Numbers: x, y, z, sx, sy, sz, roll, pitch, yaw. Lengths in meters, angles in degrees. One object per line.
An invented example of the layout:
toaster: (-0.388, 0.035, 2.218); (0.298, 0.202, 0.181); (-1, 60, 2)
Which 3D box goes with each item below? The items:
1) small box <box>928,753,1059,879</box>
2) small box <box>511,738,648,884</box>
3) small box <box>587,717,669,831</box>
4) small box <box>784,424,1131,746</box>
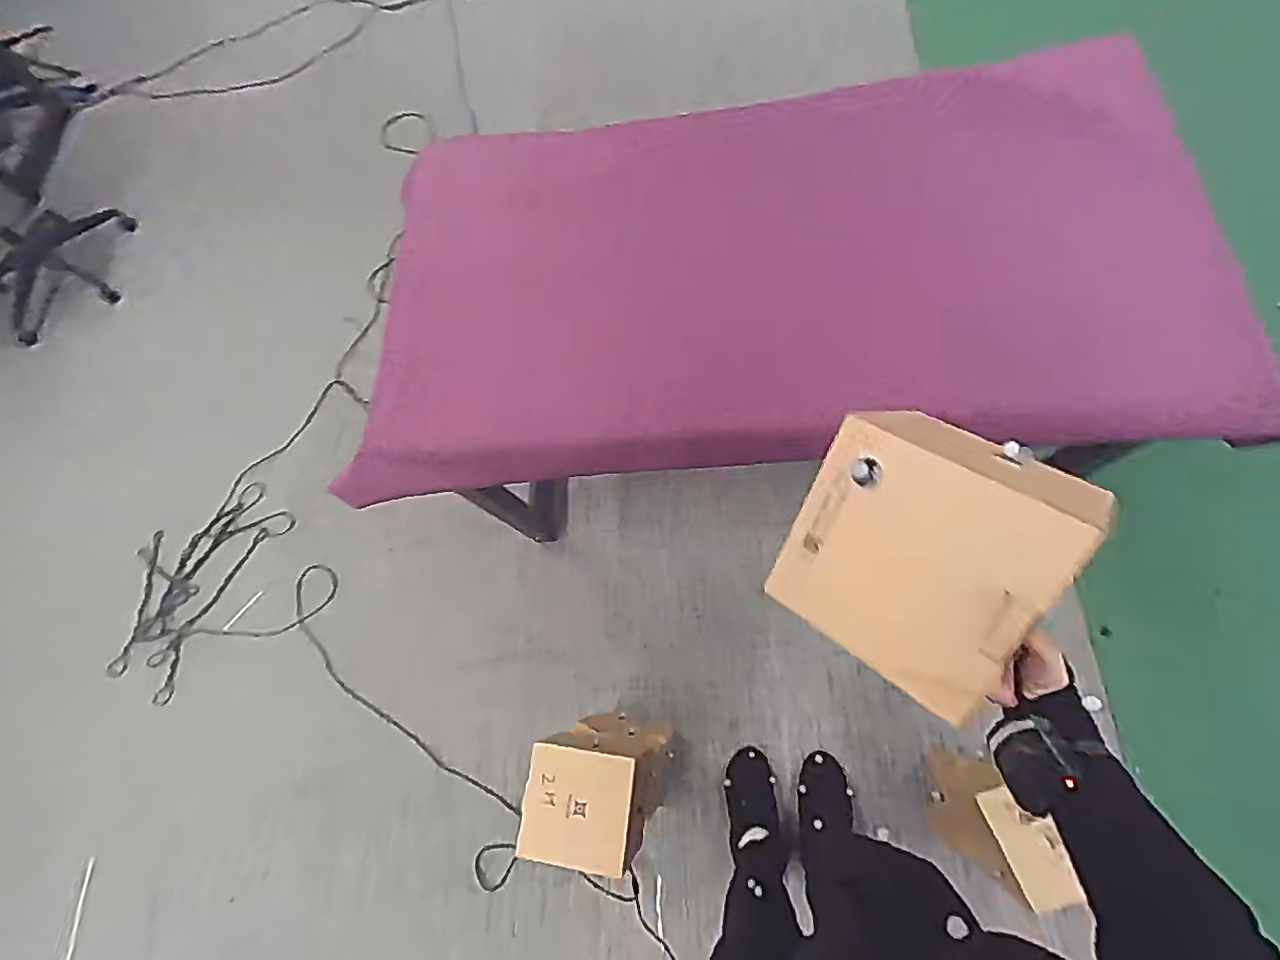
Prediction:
small box: (0.693, 0.658, 1.084); (0.179, 0.176, 0.168); (5, 72, 12)
small box: (-0.090, 0.542, 0.913); (0.179, 0.176, 0.168); (3, 70, 13)
small box: (-0.035, 0.647, 1.218); (0.168, 0.176, 0.179); (10, 74, 14)
small box: (0.245, 0.063, 0.439); (0.176, 0.179, 0.168); (34, 117, 32)
